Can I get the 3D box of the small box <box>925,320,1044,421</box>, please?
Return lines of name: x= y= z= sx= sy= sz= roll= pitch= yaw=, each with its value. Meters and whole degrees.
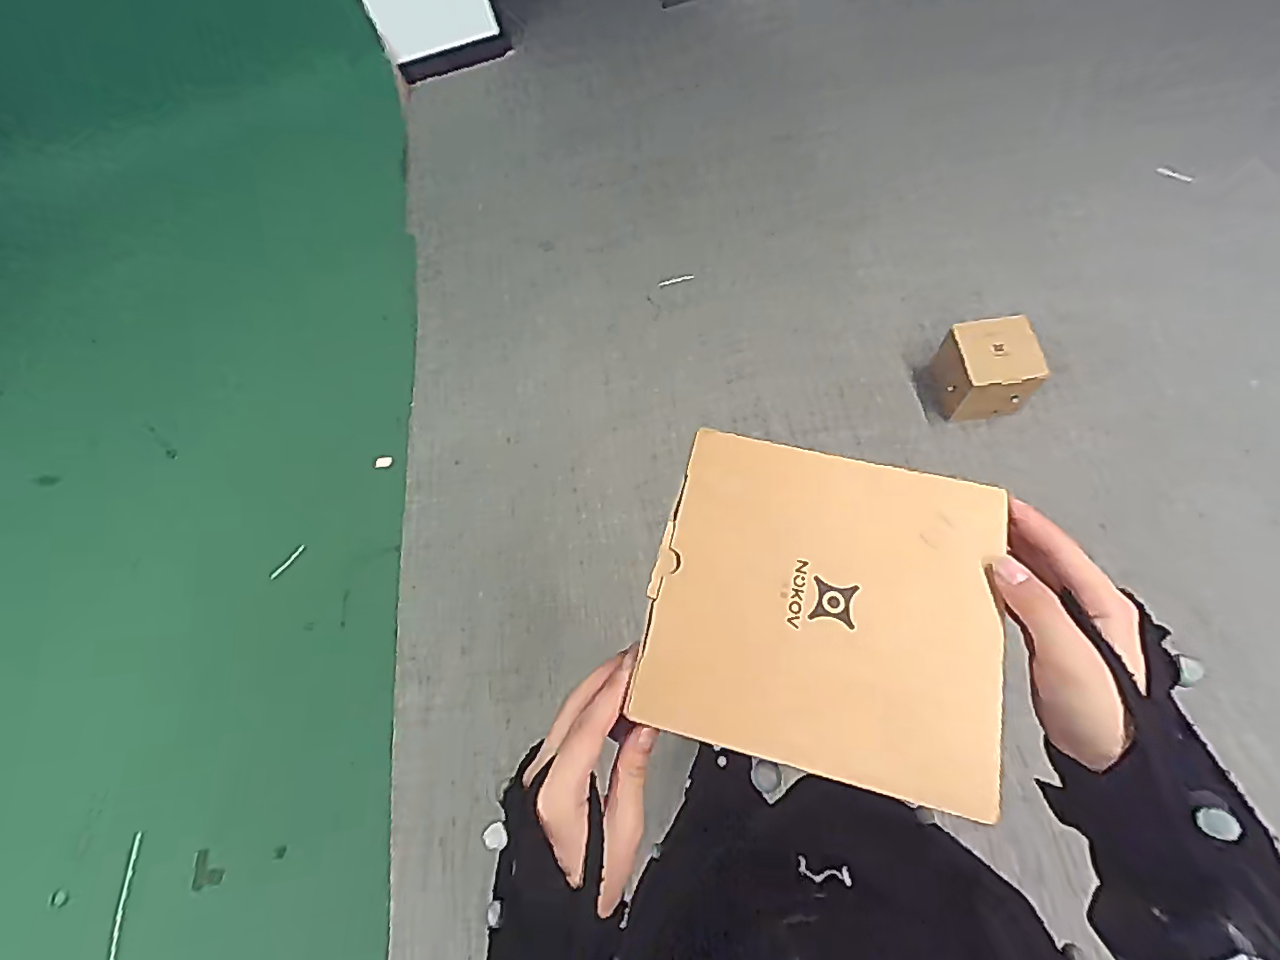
small box: x=0.819 y=-0.255 z=1.306 sx=0.168 sy=0.176 sz=0.179 roll=-6 pitch=65 yaw=6
